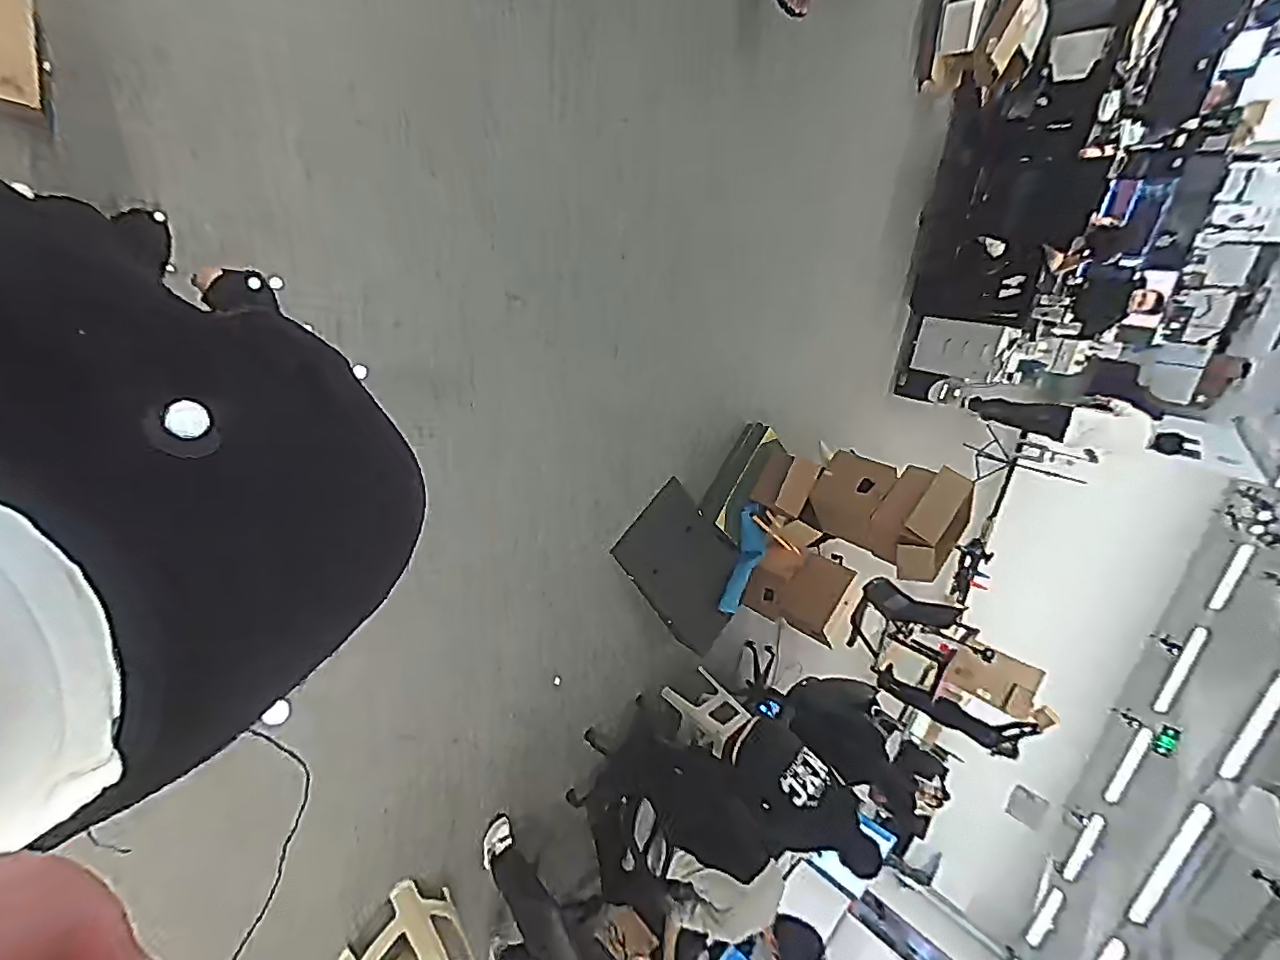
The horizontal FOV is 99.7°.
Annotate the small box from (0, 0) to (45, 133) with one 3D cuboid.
[{"bbox_3d":[-1.066,-0.681,0.850,0.168,0.176,0.179,-4,110,-48],"label":"small box"}]
